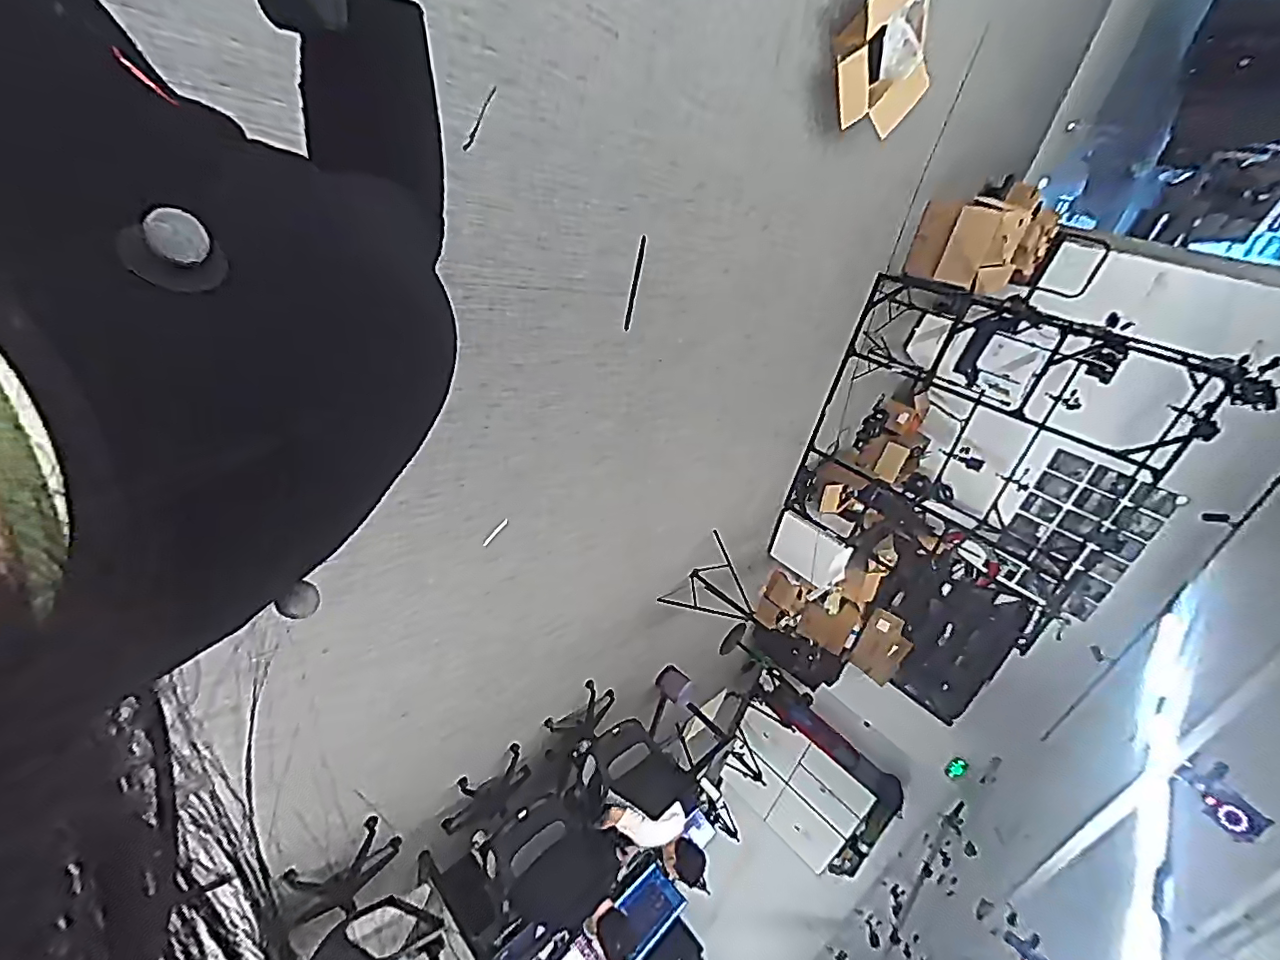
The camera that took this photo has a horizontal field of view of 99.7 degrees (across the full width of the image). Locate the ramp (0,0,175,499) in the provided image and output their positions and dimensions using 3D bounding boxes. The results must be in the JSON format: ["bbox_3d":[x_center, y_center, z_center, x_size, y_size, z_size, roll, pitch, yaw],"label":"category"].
[{"bbox_3d":[-1.254,-0.349,1.020,0.509,0.206,0.991,-19,133,-44],"label":"ramp"}]
